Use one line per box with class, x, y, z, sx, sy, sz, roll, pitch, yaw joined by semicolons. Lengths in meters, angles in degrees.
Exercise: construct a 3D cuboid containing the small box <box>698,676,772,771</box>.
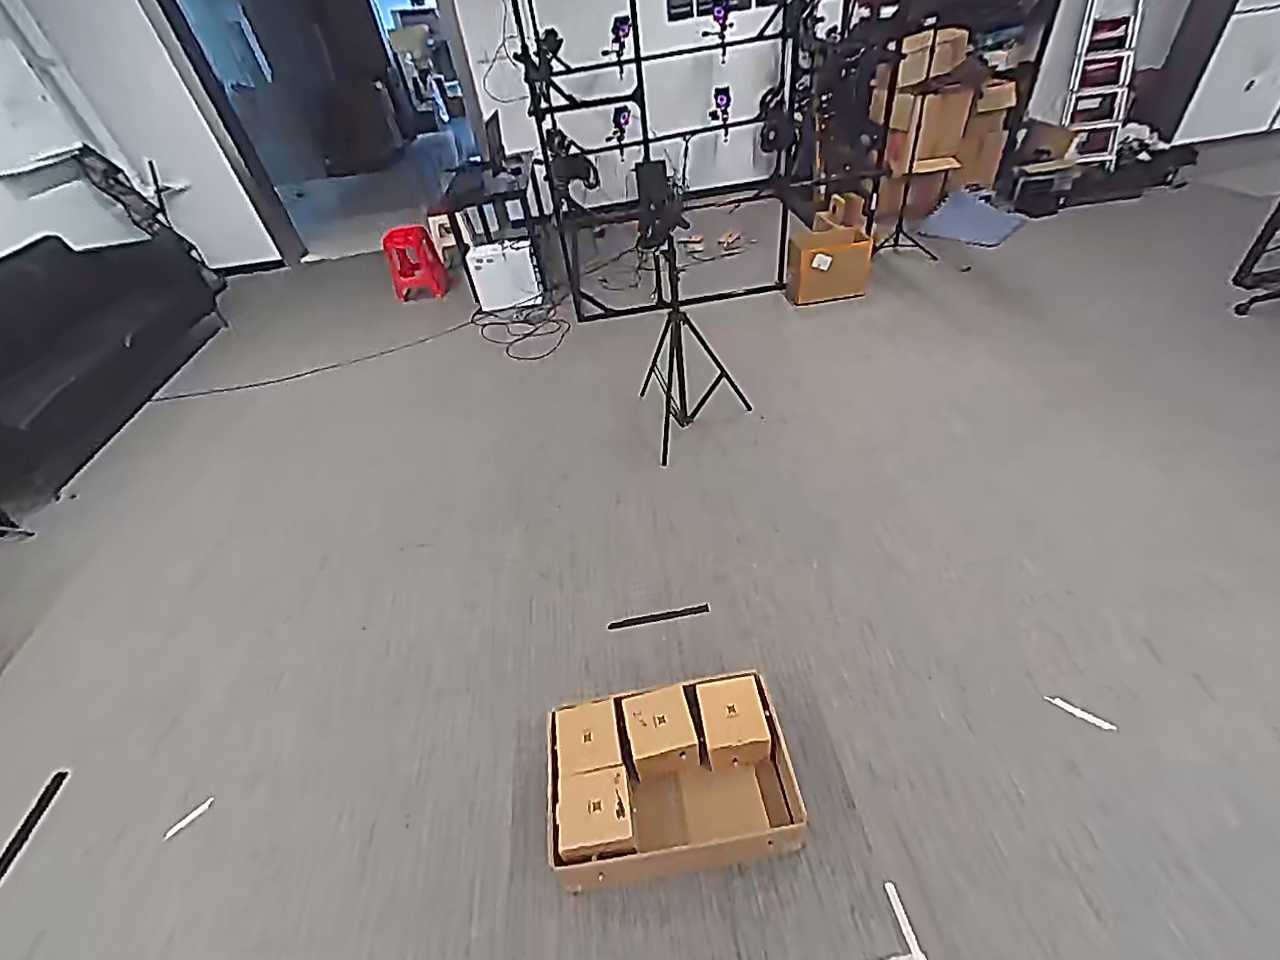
small box;0.256;0.671;1.489;0.168;0.176;0.179;-11;45;0
